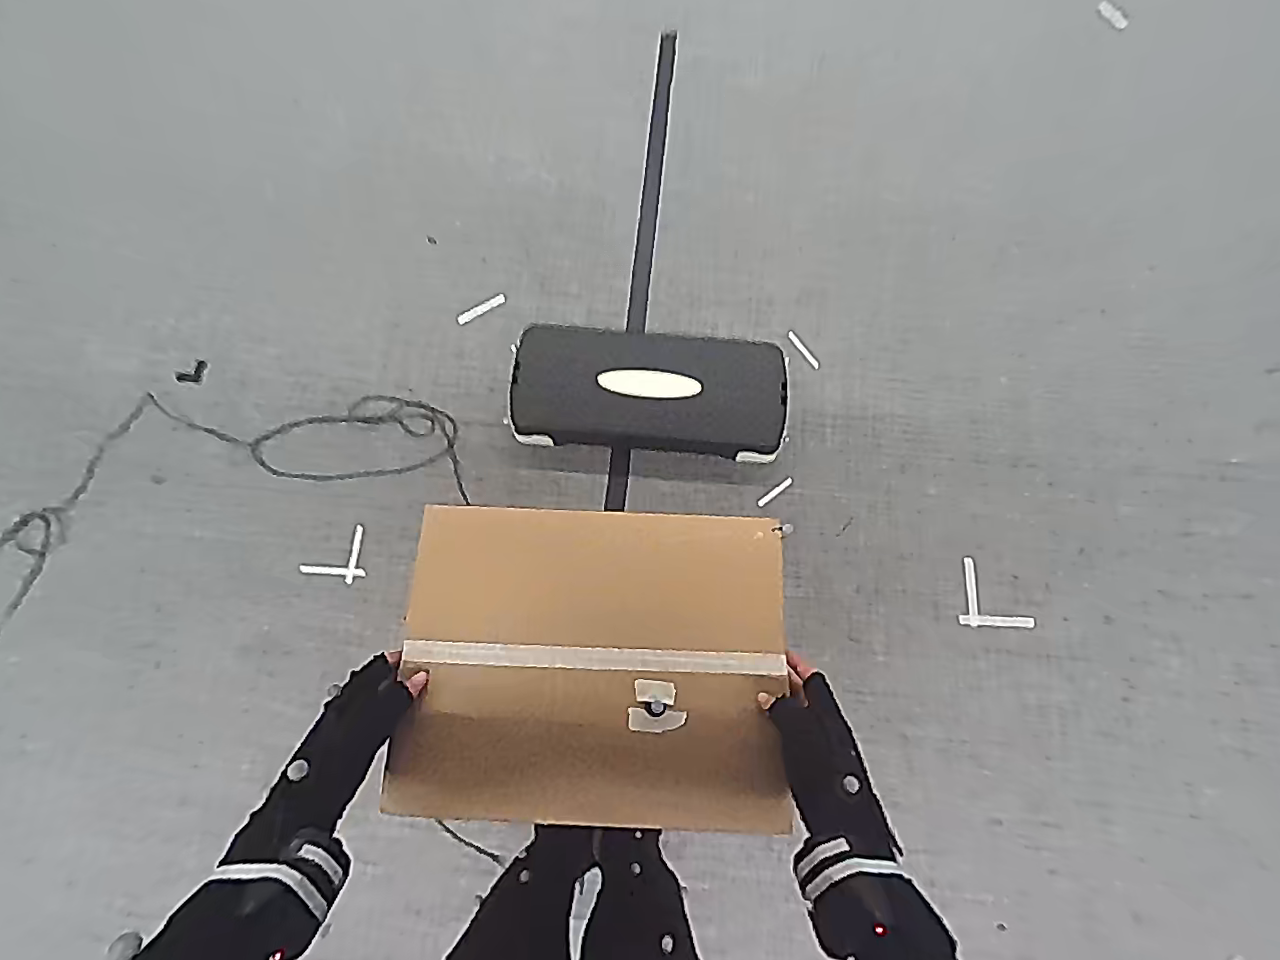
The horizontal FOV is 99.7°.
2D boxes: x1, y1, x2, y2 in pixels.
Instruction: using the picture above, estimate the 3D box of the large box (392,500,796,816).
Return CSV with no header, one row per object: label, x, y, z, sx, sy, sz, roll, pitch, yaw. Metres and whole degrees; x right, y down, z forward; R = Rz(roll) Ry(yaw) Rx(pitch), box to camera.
large box,-0.044,0.219,0.711,0.408,0.320,0.320,2,74,0
